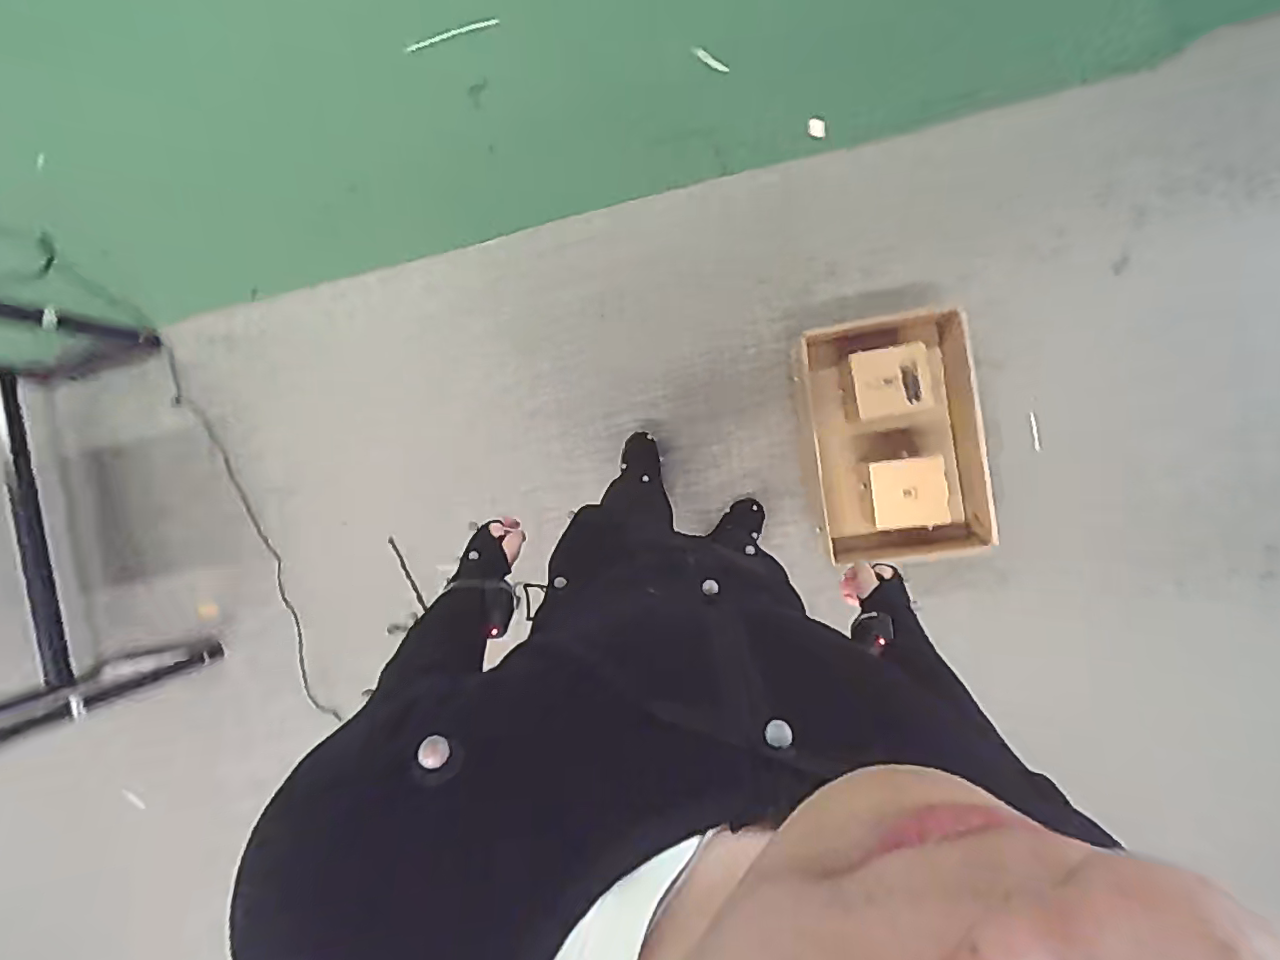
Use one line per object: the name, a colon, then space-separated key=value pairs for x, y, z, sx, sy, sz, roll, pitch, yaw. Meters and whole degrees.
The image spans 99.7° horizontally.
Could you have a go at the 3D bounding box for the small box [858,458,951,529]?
small box: x=0.677 y=0.035 z=1.407 sx=0.179 sy=0.176 sz=0.168 roll=-6 pitch=90 yaw=9
